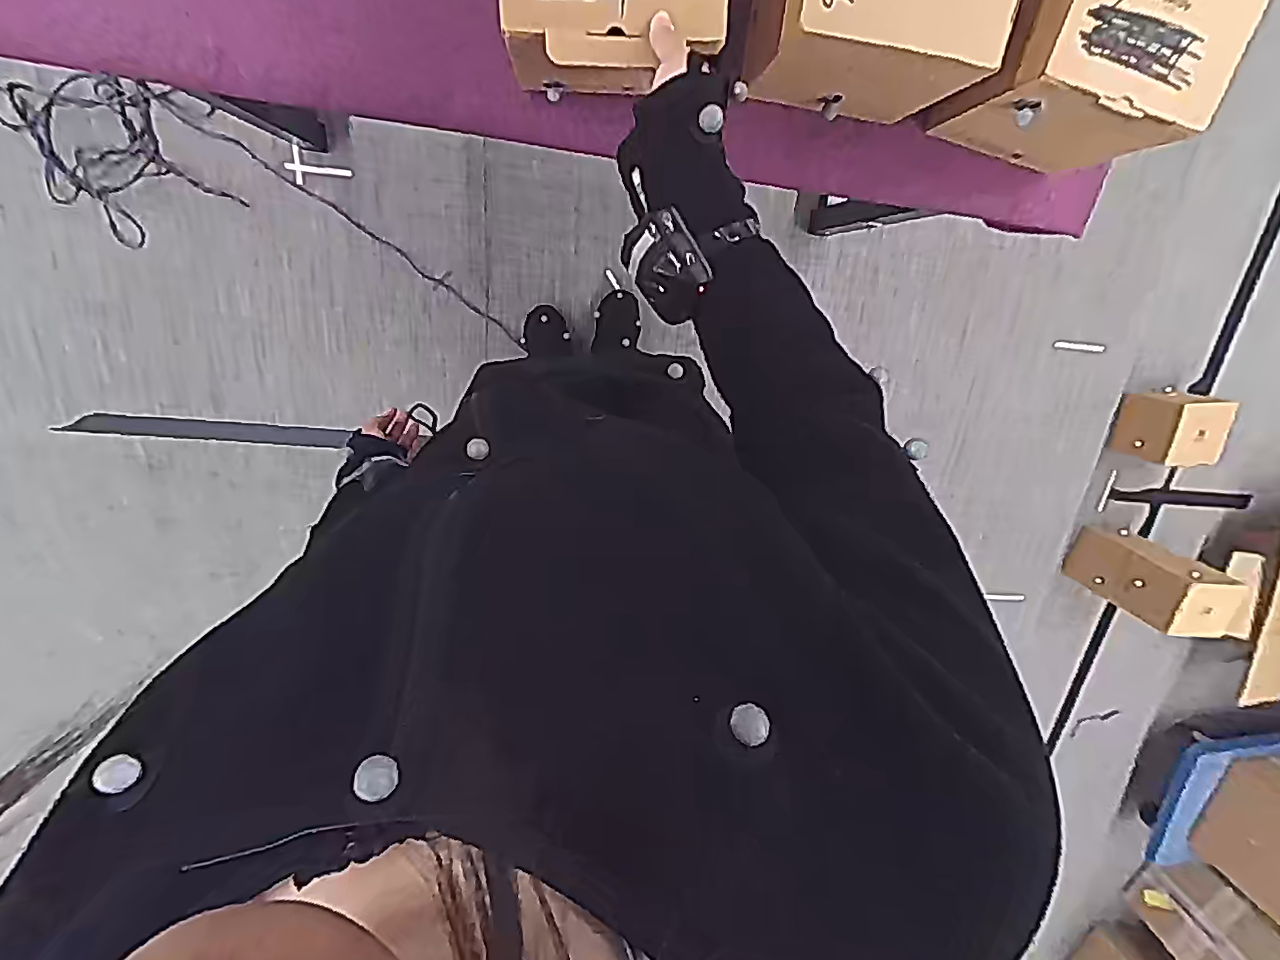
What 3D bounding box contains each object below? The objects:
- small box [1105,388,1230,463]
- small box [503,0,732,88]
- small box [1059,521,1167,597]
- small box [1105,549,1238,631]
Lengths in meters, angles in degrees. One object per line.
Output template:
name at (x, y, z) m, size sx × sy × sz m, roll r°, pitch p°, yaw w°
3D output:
small box at (1.471, -0.157, 1.523) m, size 0.168 × 0.176 × 0.179 m, roll -3°, pitch 110°, yaw -7°
small box at (-0.020, -0.433, 0.427) m, size 0.168 × 0.176 × 0.179 m, roll -2°, pitch 114°, yaw -7°
small box at (1.457, 0.248, 1.675) m, size 0.168 × 0.176 × 0.179 m, roll 7°, pitch 110°, yaw -10°
small box at (1.489, 0.307, 1.526) m, size 0.179 × 0.176 × 0.168 m, roll 3°, pitch 111°, yaw -7°
